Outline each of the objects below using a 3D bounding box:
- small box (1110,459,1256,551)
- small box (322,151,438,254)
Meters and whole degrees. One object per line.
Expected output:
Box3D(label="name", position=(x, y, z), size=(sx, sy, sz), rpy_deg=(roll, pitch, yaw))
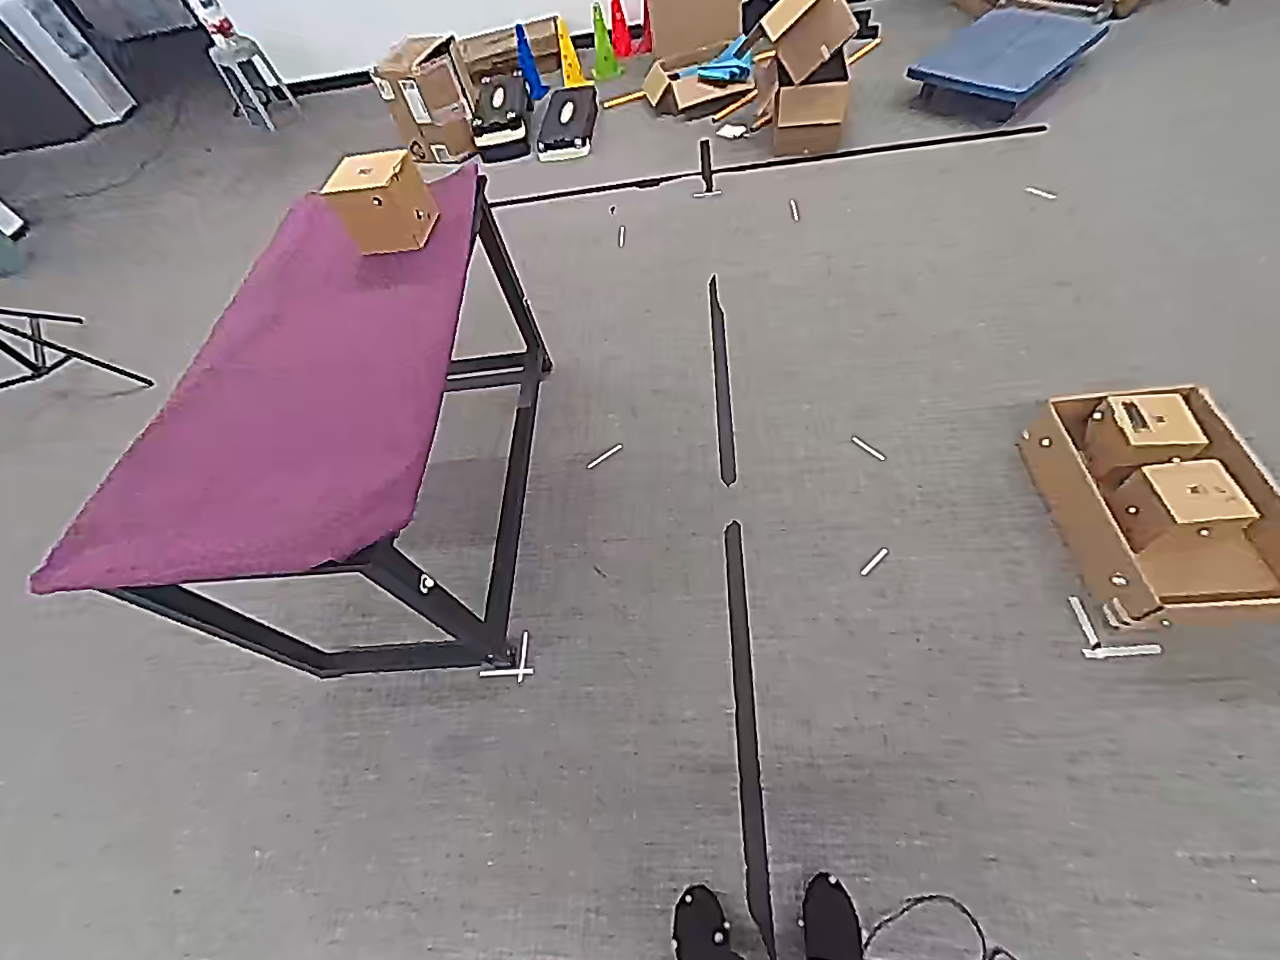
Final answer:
Box3D(label="small box", position=(1.341, 0.068, 1.359), size=(0.179, 0.176, 0.168), rpy_deg=(-6, 56, 6))
Box3D(label="small box", position=(-0.647, -0.693, 1.365), size=(0.179, 0.176, 0.168), rpy_deg=(-1, 57, 10))
